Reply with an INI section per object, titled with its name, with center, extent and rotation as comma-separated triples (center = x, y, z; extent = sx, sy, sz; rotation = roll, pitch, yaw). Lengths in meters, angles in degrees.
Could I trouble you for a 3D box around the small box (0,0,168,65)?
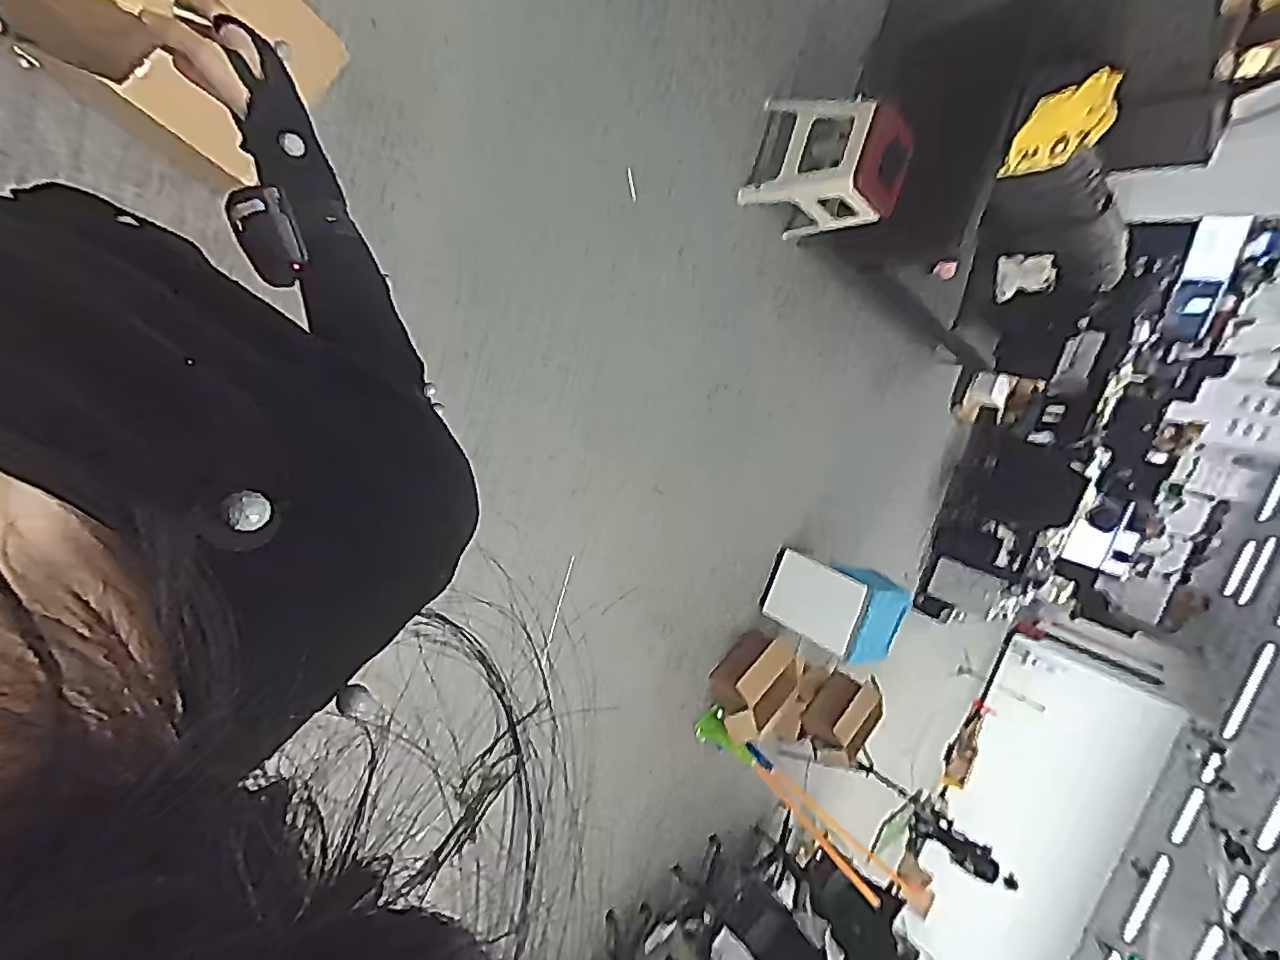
[small box]
center = -0.440, -0.430, 0.360
extent = 0.168, 0.176, 0.179
rotation = -2, 104, -53
